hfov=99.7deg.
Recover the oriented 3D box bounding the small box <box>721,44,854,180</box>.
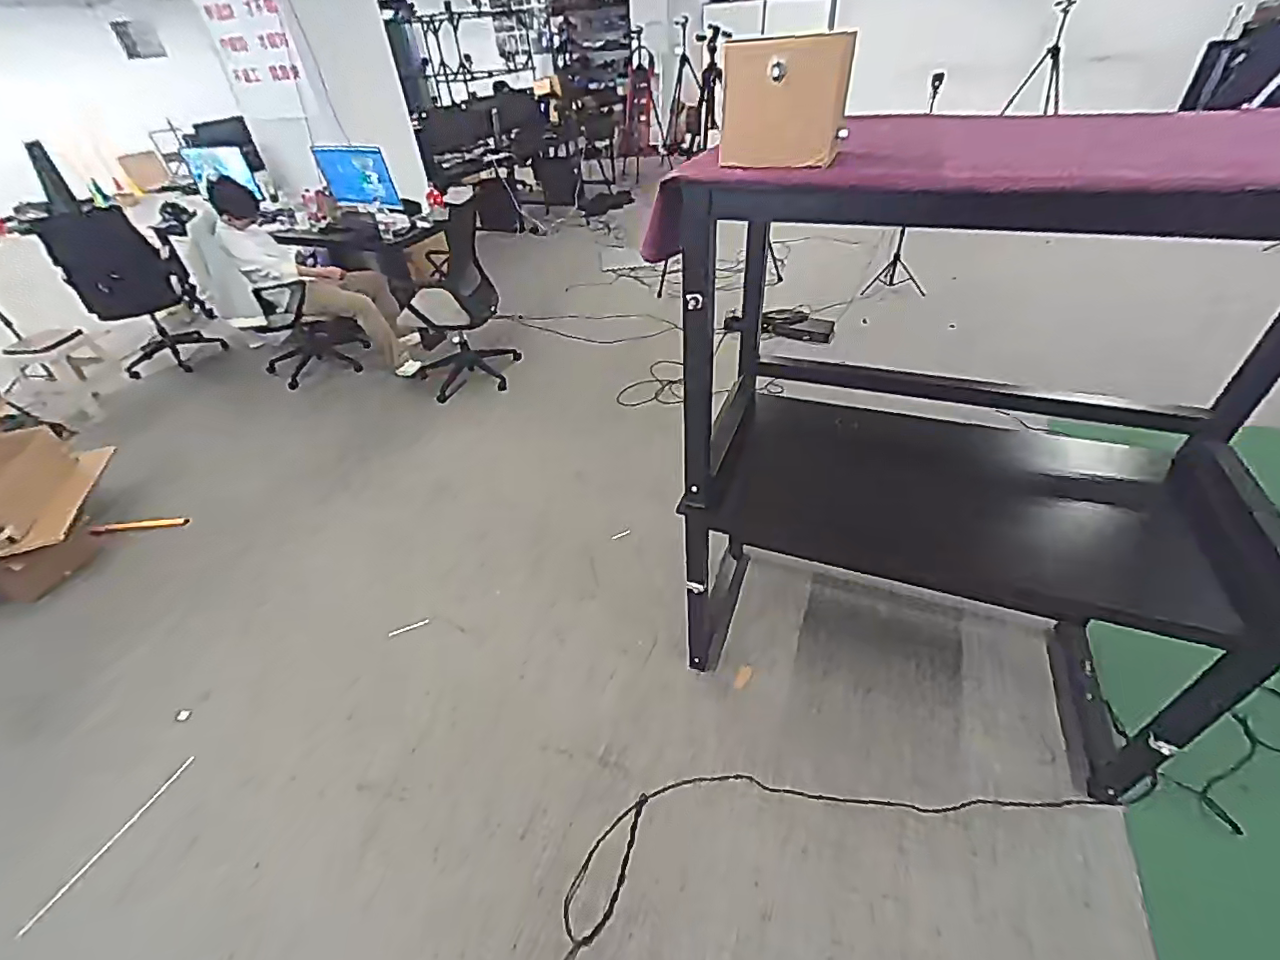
[{"bbox_3d":[0.235,-0.596,0.879,0.179,0.176,0.168,12,41,19],"label":"small box"}]
